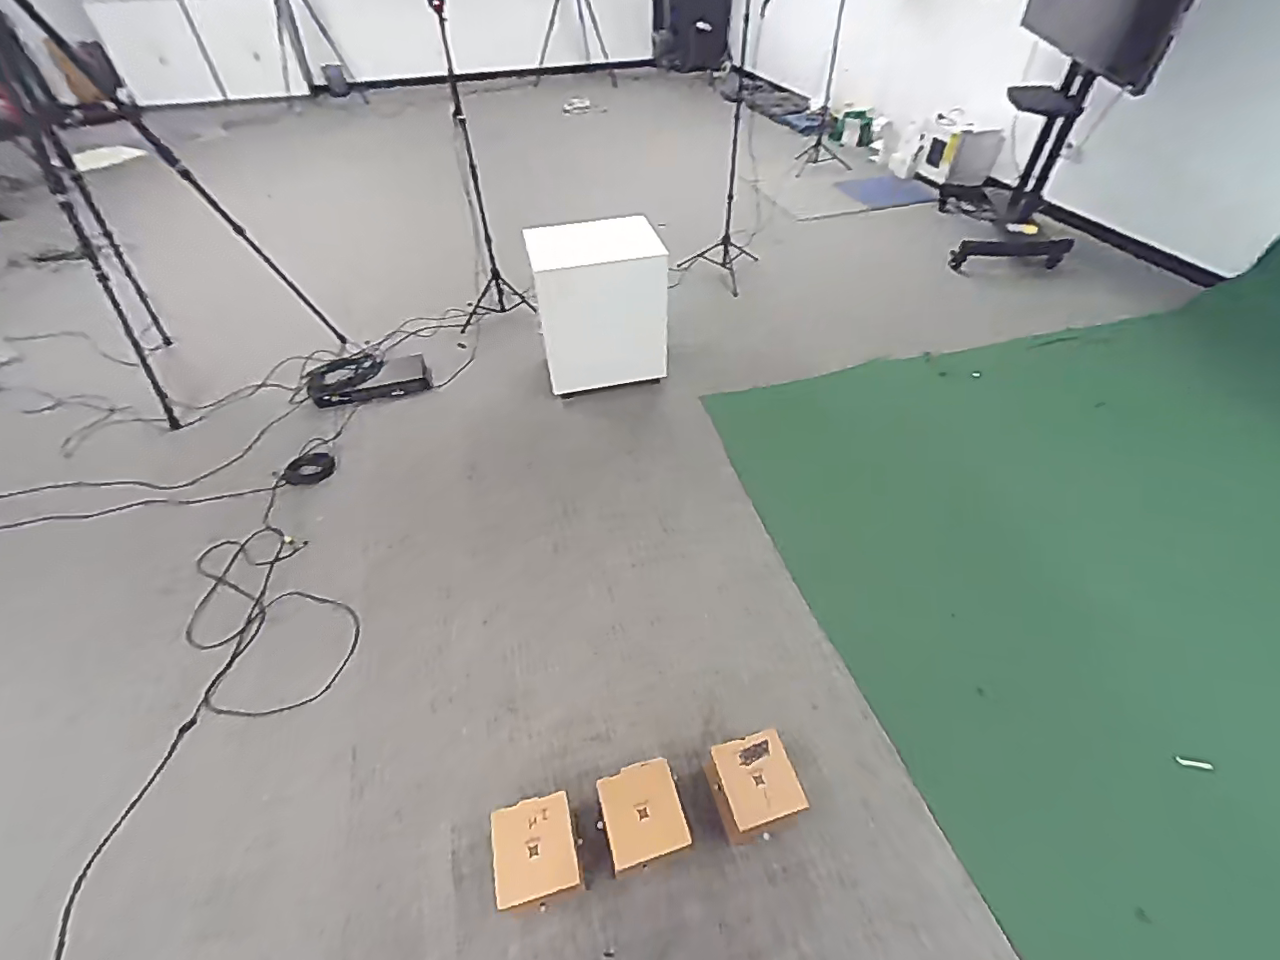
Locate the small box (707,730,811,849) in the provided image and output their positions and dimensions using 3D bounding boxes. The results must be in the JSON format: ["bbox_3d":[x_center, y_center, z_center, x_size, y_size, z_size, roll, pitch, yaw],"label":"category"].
[{"bbox_3d":[0.264,0.716,1.251,0.168,0.176,0.179,-13,48,-11],"label":"small box"}]

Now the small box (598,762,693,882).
[{"bbox_3d":[0.010,0.768,1.205,0.168,0.176,0.179,-13,47,-12],"label":"small box"}]

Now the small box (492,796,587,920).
[{"bbox_3d":[-0.213,0.815,1.160,0.168,0.176,0.179,-11,47,-11],"label":"small box"}]
